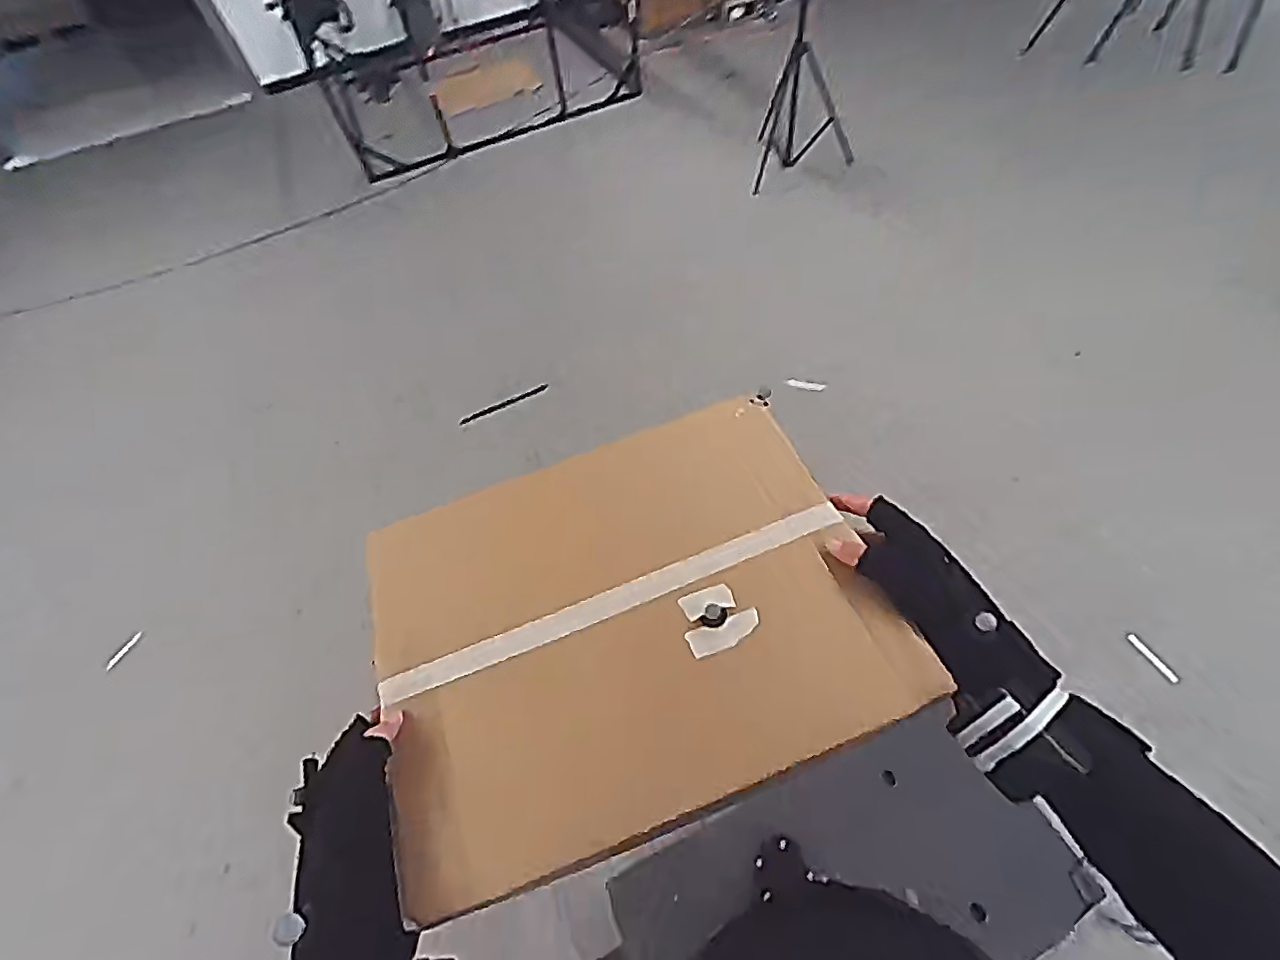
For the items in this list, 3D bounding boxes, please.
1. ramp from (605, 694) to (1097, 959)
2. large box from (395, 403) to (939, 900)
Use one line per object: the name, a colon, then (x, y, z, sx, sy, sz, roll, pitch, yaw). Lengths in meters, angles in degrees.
ramp: (0.470, 0.900, 1.191, 0.991, 0.206, 0.509, -26, 54, -10)
large box: (0.010, 0.184, 0.591, 0.408, 0.320, 0.320, -20, 57, -5)
